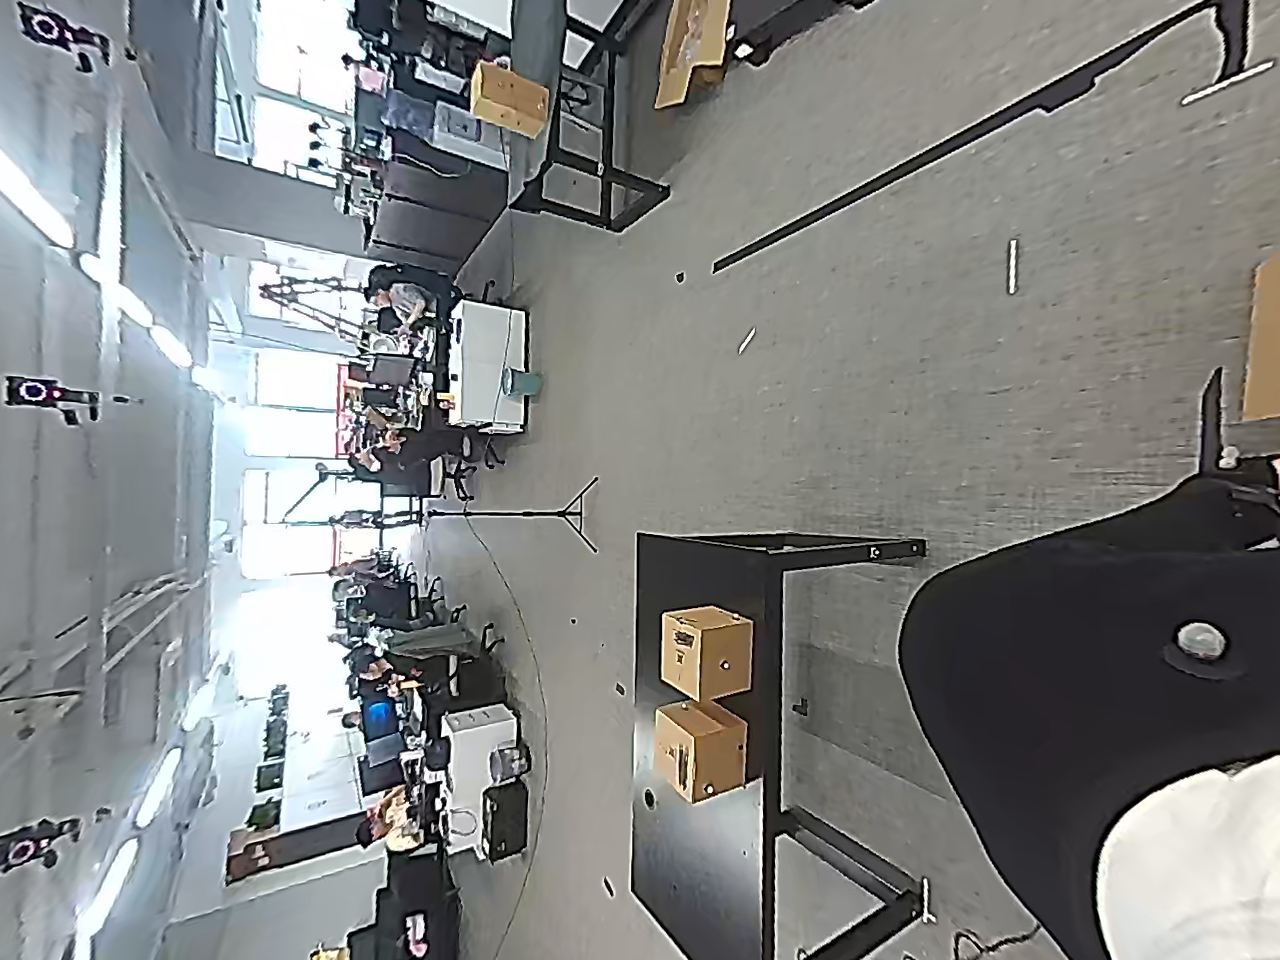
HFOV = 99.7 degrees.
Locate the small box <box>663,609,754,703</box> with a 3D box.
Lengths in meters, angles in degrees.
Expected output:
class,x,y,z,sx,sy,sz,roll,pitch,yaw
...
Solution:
class,x,y,z,sx,sy,sz,roll,pitch,yaw
small box,0.175,0.436,1.376,0.168,0.176,0.179,4,94,59
